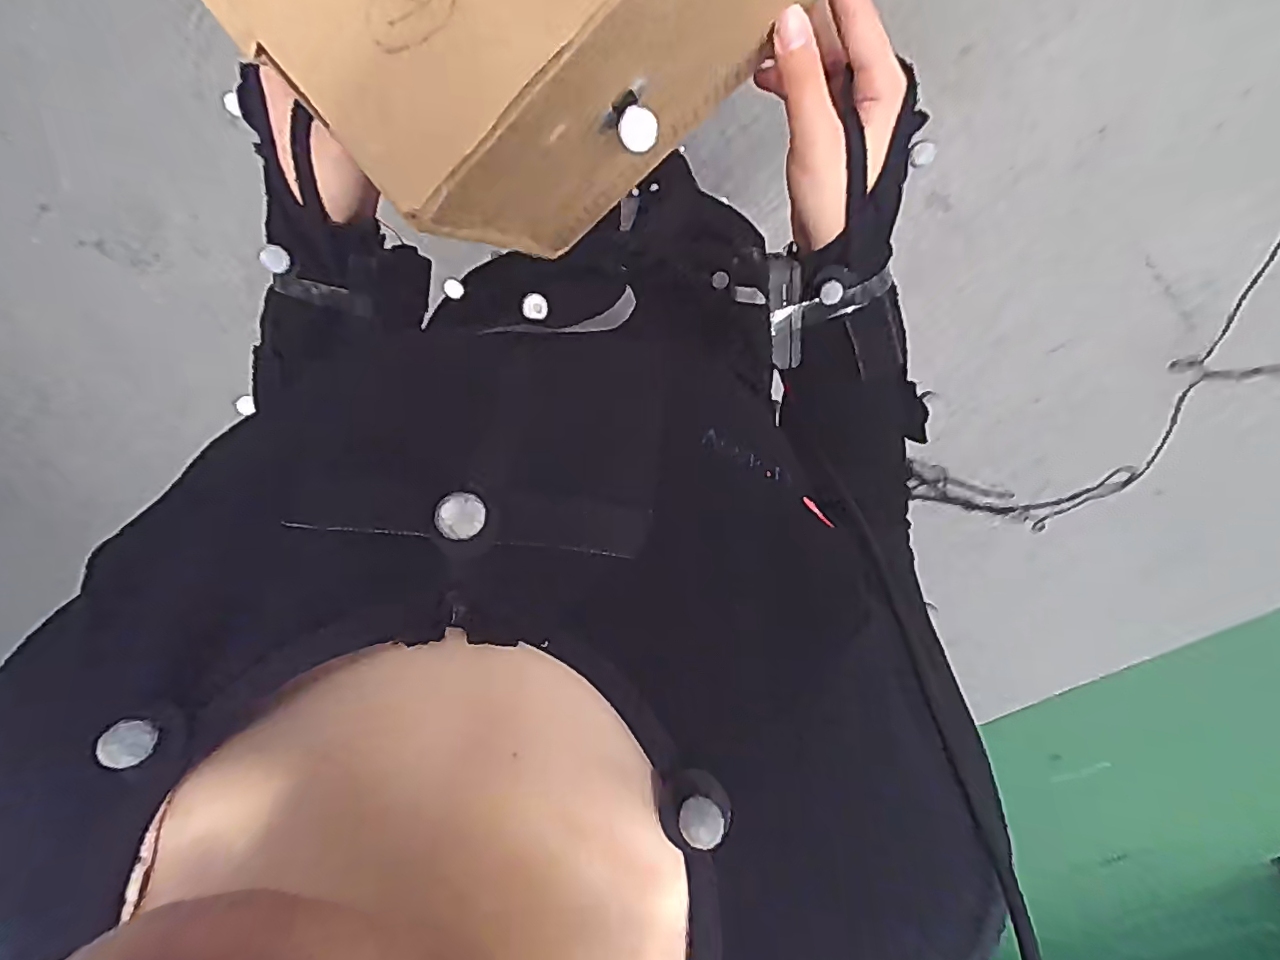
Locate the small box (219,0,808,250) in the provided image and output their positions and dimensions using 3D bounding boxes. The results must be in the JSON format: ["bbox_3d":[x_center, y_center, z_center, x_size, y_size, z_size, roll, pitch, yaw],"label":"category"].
[{"bbox_3d":[-0.040,-0.208,0.197,0.179,0.176,0.168,-36,101,18],"label":"small box"}]
